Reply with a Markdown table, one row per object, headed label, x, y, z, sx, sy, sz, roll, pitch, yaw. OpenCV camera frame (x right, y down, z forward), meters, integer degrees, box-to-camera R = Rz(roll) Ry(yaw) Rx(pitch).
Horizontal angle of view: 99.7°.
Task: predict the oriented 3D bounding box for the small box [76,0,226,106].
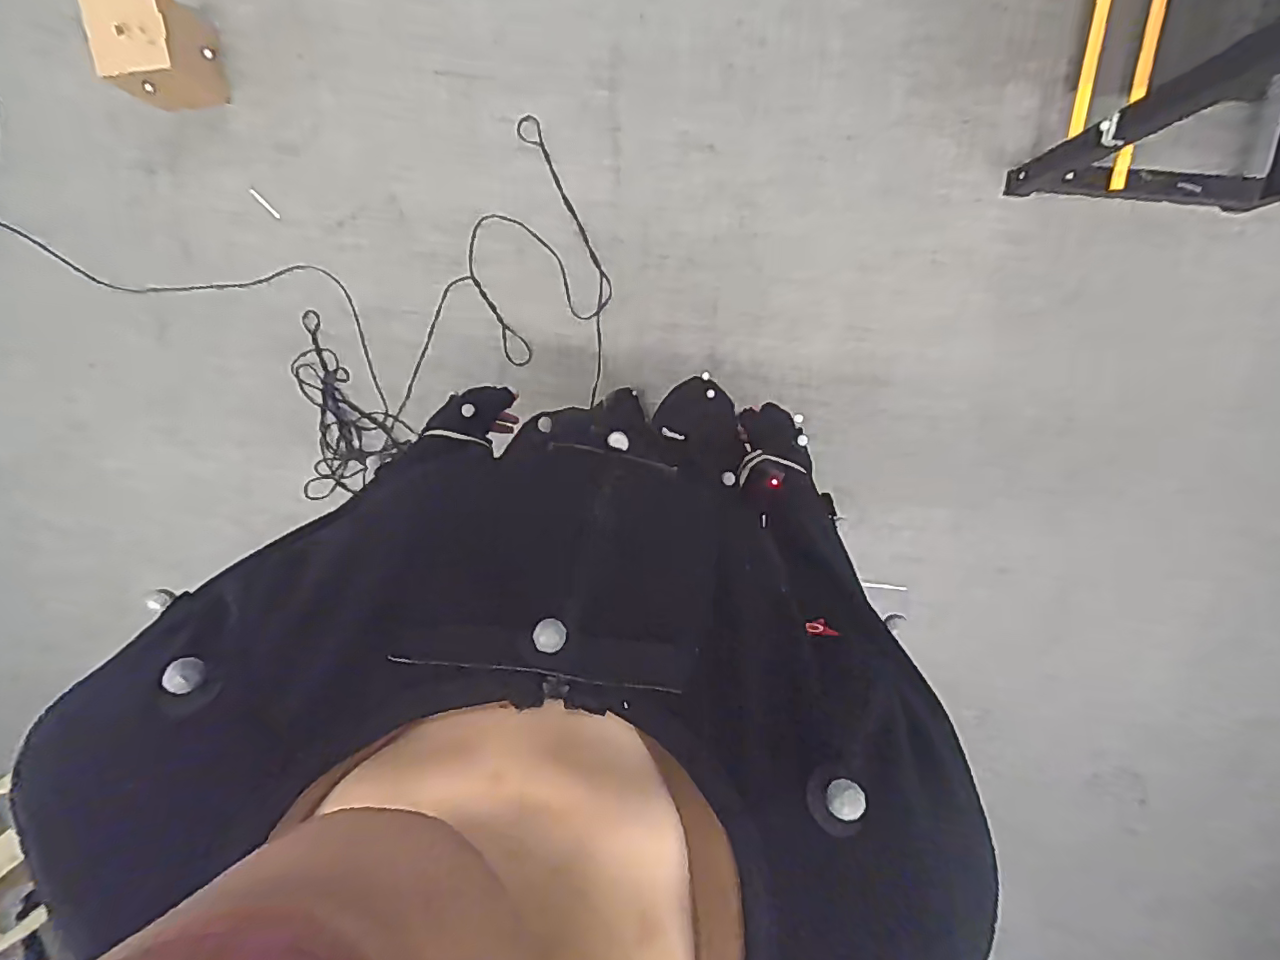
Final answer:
| label | x | y | z | sx | sy | sz | roll | pitch | yaw |
| --- | --- | --- | --- | --- | --- | --- | --- | --- | --- |
| small box | -1.110 | -0.991 | 1.239 | 0.179 | 0.176 | 0.168 | -5 | 102 | 4 |
